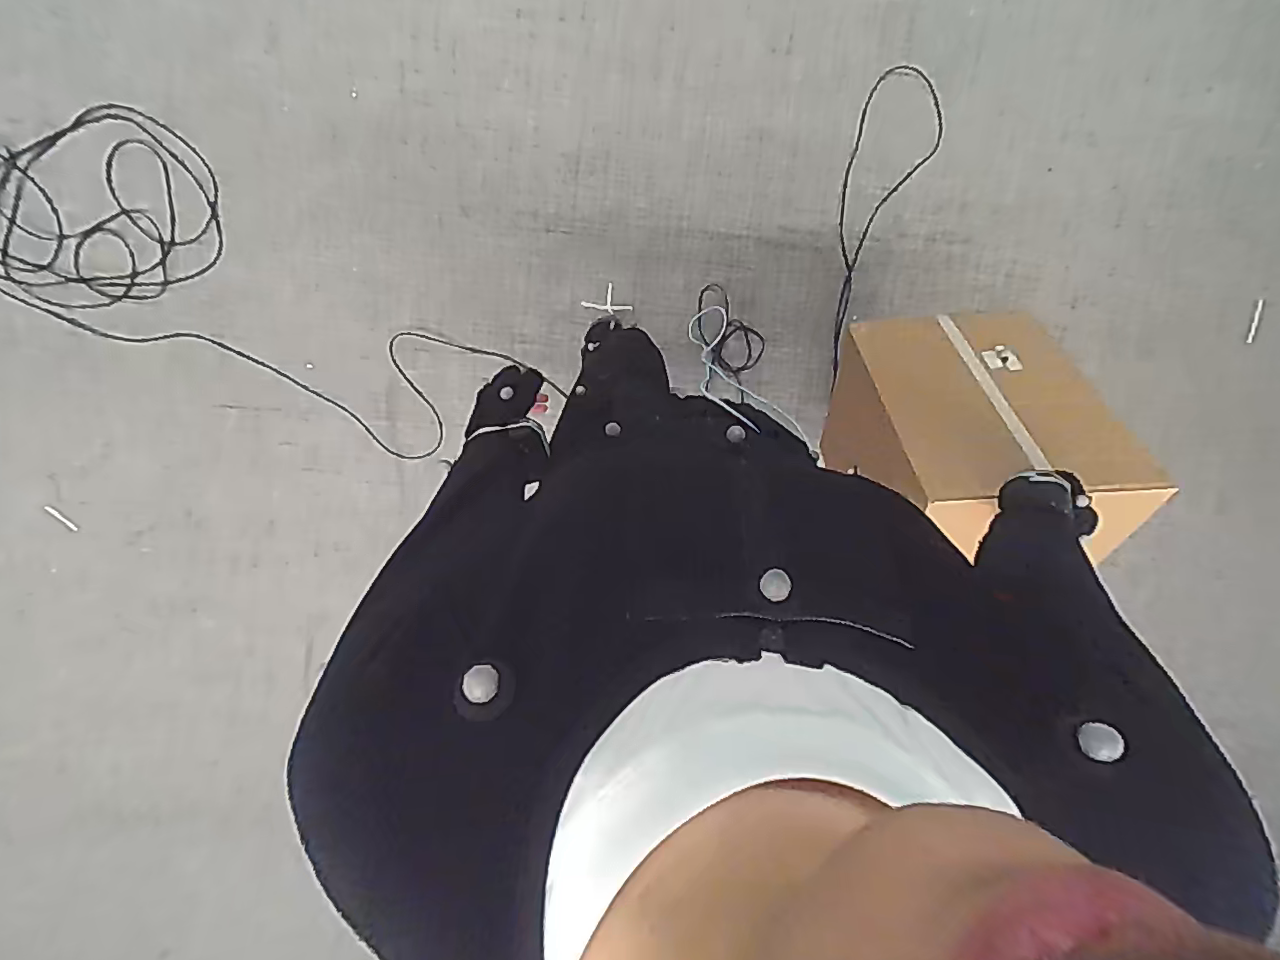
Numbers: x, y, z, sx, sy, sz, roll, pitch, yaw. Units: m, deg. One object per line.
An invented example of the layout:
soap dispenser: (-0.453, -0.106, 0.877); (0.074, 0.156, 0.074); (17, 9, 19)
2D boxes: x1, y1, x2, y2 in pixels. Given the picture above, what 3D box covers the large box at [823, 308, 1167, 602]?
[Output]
large box: (0.538, -0.043, 0.940); (0.320, 0.408, 0.320); (-3, 140, 3)
